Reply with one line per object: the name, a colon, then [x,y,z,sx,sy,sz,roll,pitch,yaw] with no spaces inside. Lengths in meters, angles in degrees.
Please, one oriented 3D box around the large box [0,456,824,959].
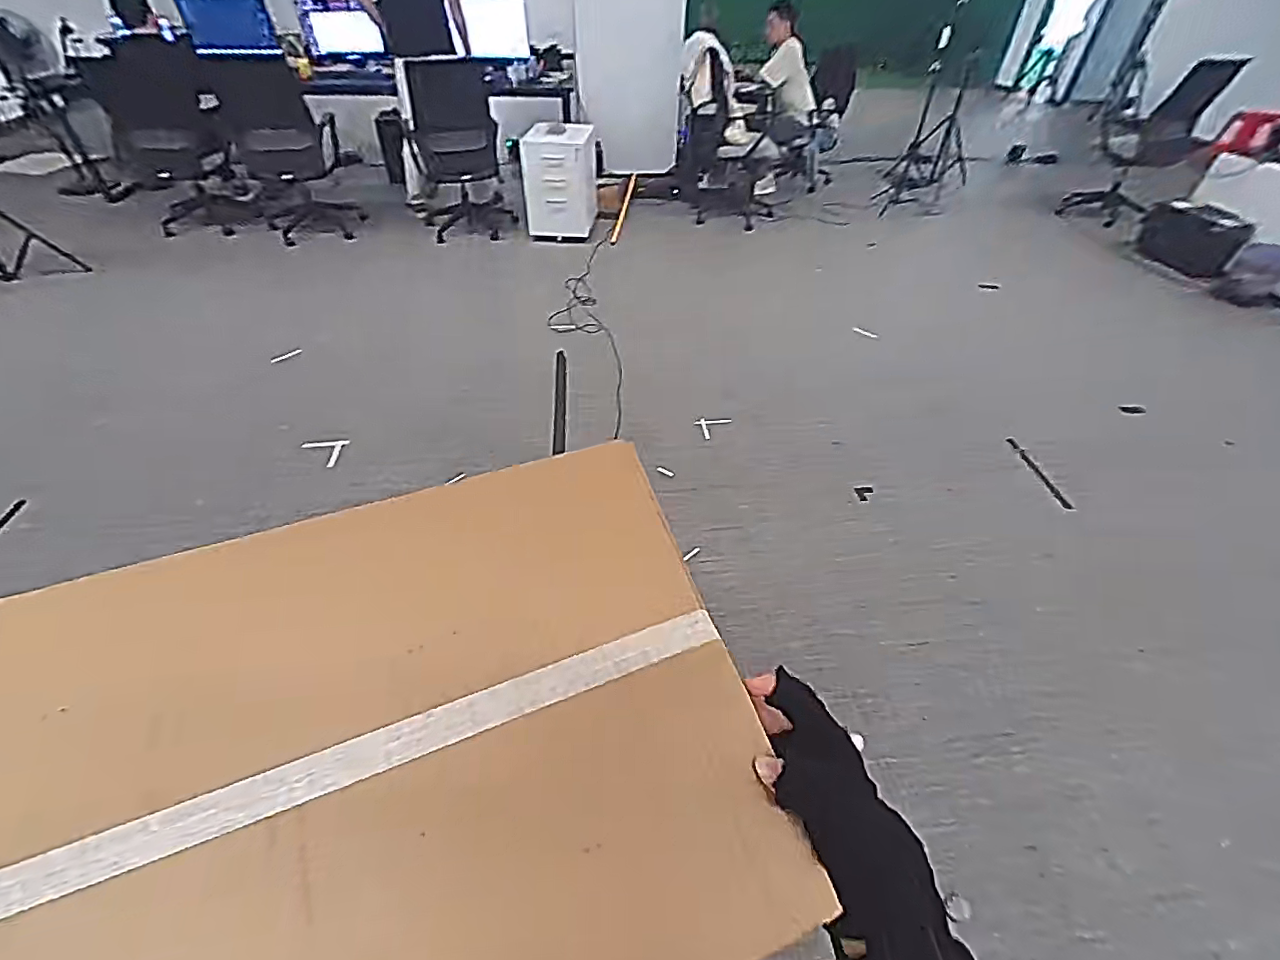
large box: [-0.148,0.232,0.428,0.408,0.320,0.320,-16,60,-15]
